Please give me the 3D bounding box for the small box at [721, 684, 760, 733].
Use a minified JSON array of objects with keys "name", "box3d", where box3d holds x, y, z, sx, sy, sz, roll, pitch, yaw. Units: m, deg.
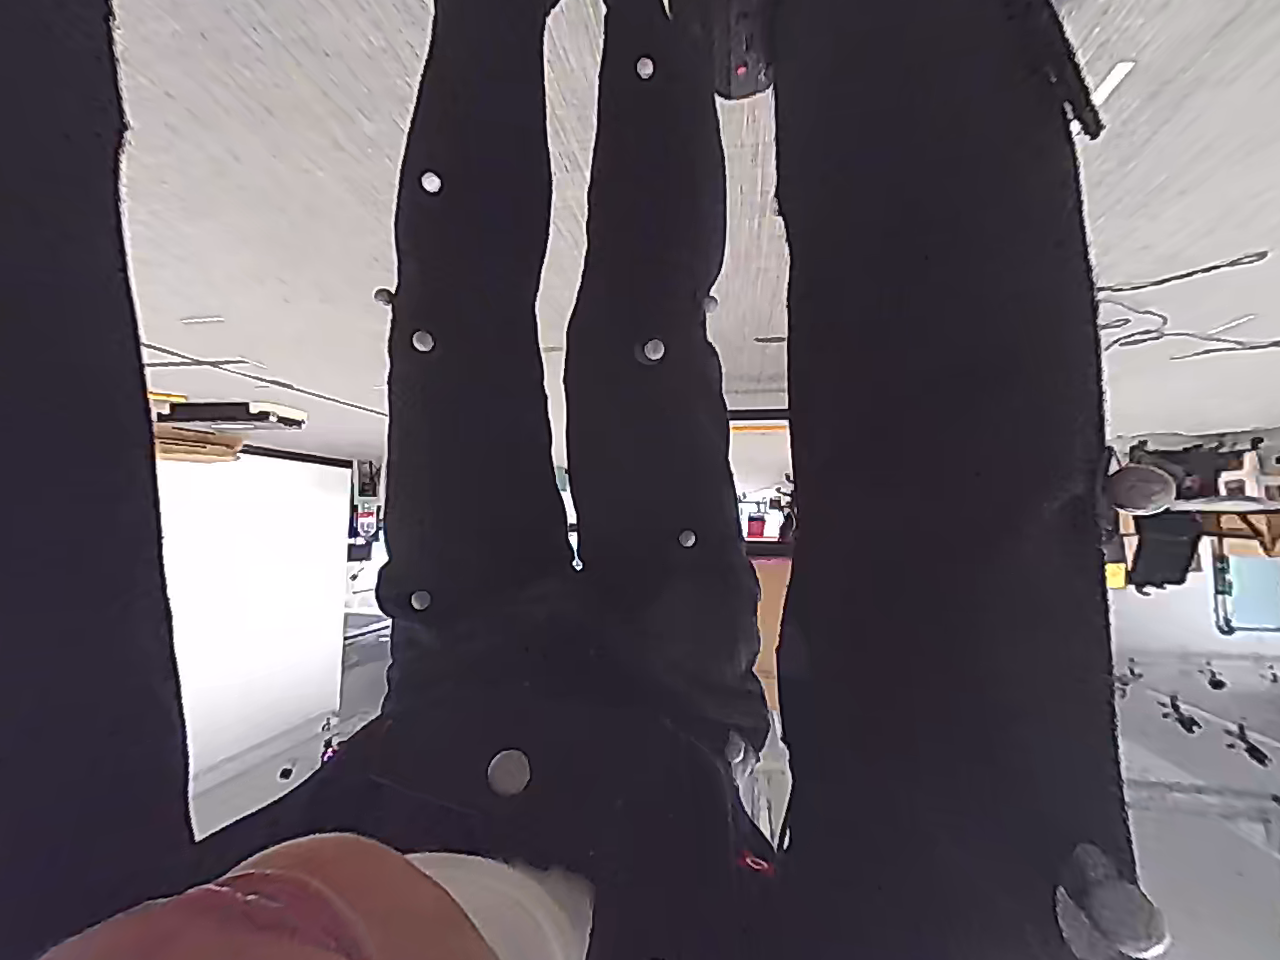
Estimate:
[{"name":"small box","box3d":[0.476,1.075,2.560,0.179,0.176,0.168,-1,176,11]}]
